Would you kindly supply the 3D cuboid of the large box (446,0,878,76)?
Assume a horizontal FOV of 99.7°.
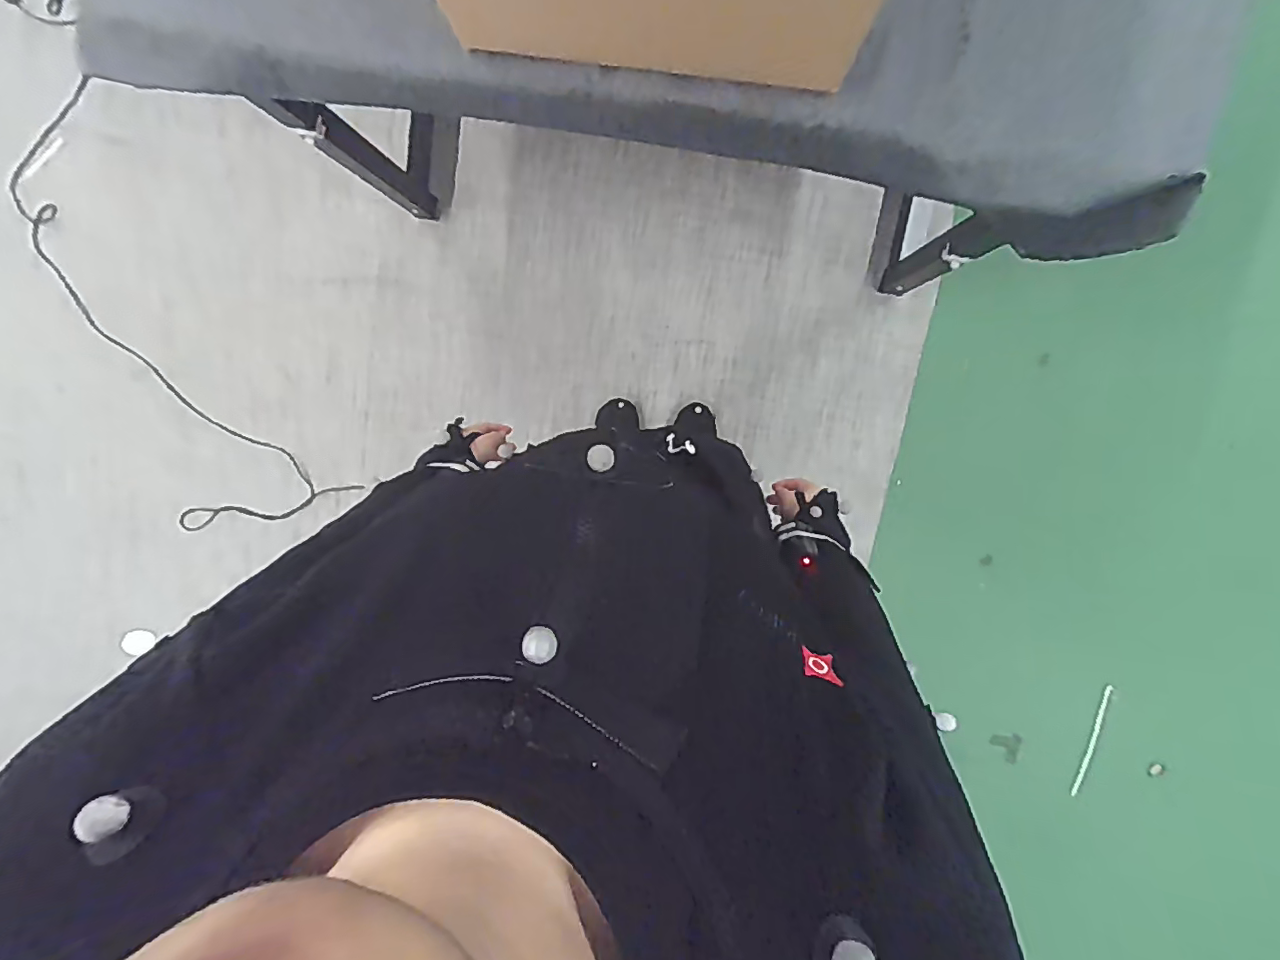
[{"bbox_3d":[0.021,-0.570,0.402,0.408,0.320,0.320,8,98,1],"label":"large box"}]
